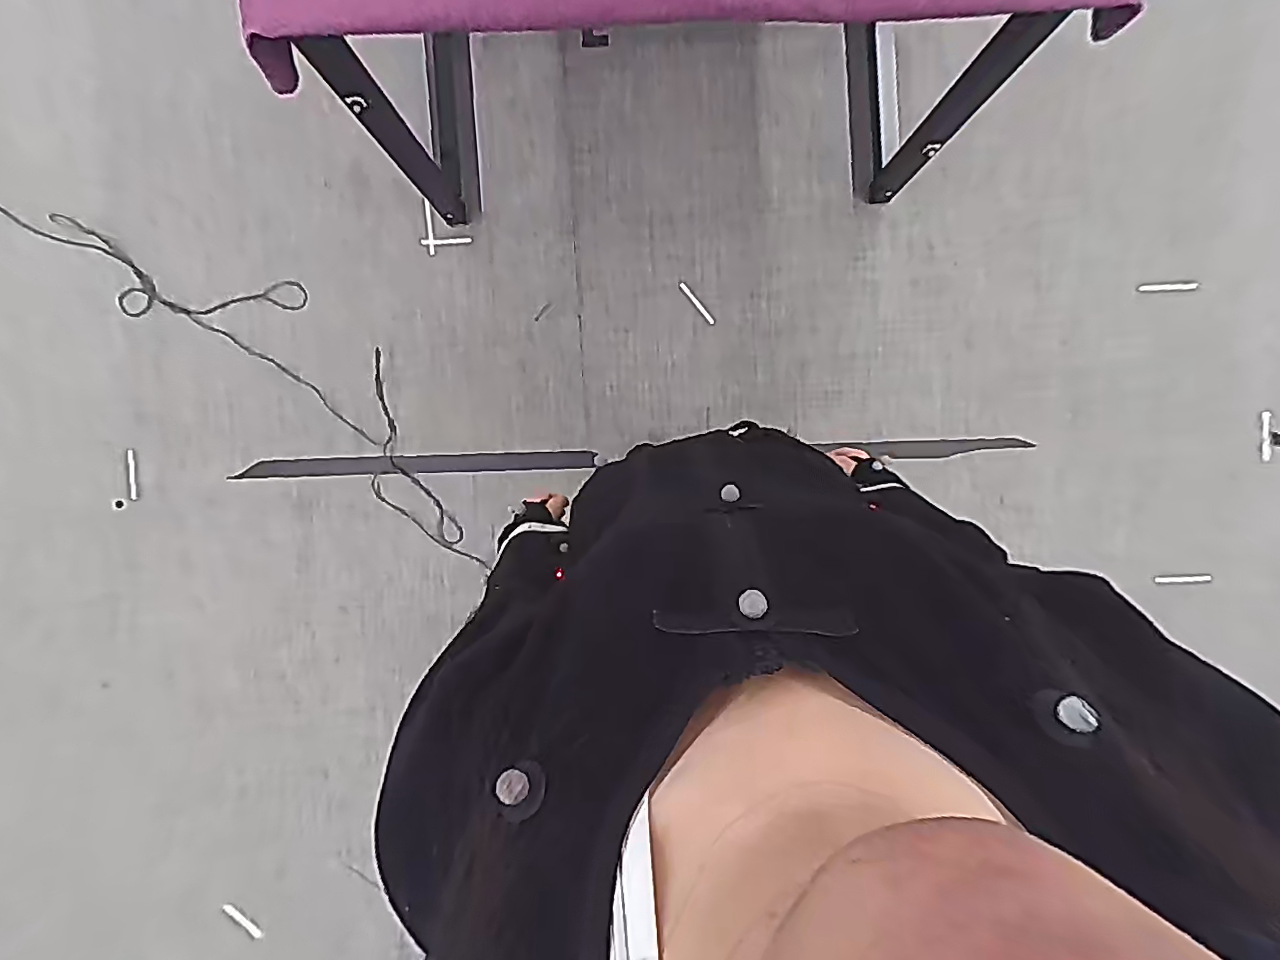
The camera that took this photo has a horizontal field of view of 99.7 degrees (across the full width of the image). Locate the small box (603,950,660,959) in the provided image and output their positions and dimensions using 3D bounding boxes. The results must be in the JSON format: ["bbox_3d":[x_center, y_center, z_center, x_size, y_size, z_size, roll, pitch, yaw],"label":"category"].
[{"bbox_3d":[-0.015,1.420,1.444,0.168,0.176,0.179,-9,93,0],"label":"small box"}]
